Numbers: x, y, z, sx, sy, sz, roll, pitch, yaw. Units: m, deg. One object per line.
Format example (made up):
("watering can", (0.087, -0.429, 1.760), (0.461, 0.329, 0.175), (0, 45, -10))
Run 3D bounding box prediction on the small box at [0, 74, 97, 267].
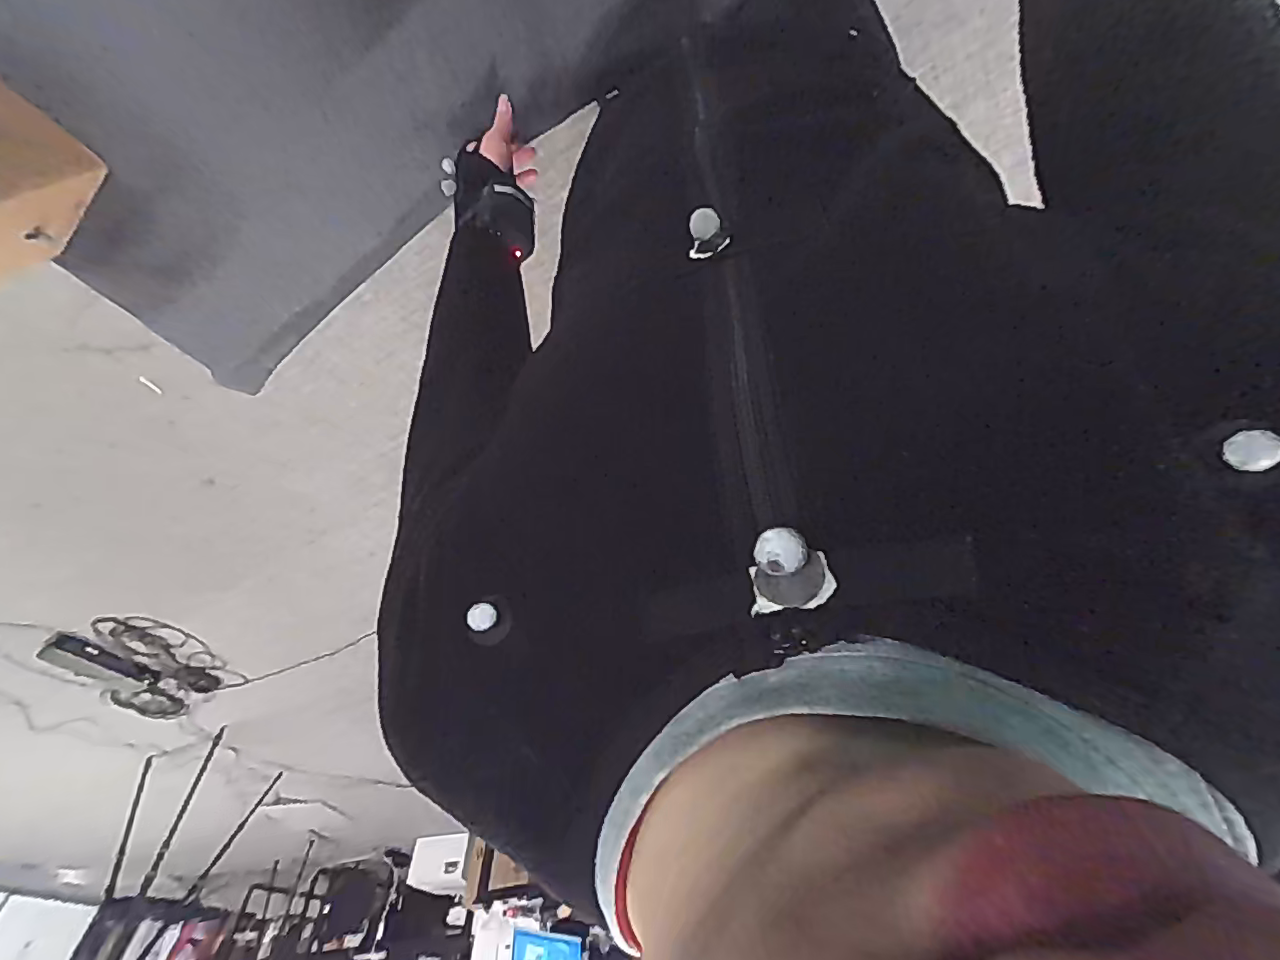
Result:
("small box", (-0.721, -0.328, 0.542), (0.168, 0.176, 0.179), (-30, 127, 25))
